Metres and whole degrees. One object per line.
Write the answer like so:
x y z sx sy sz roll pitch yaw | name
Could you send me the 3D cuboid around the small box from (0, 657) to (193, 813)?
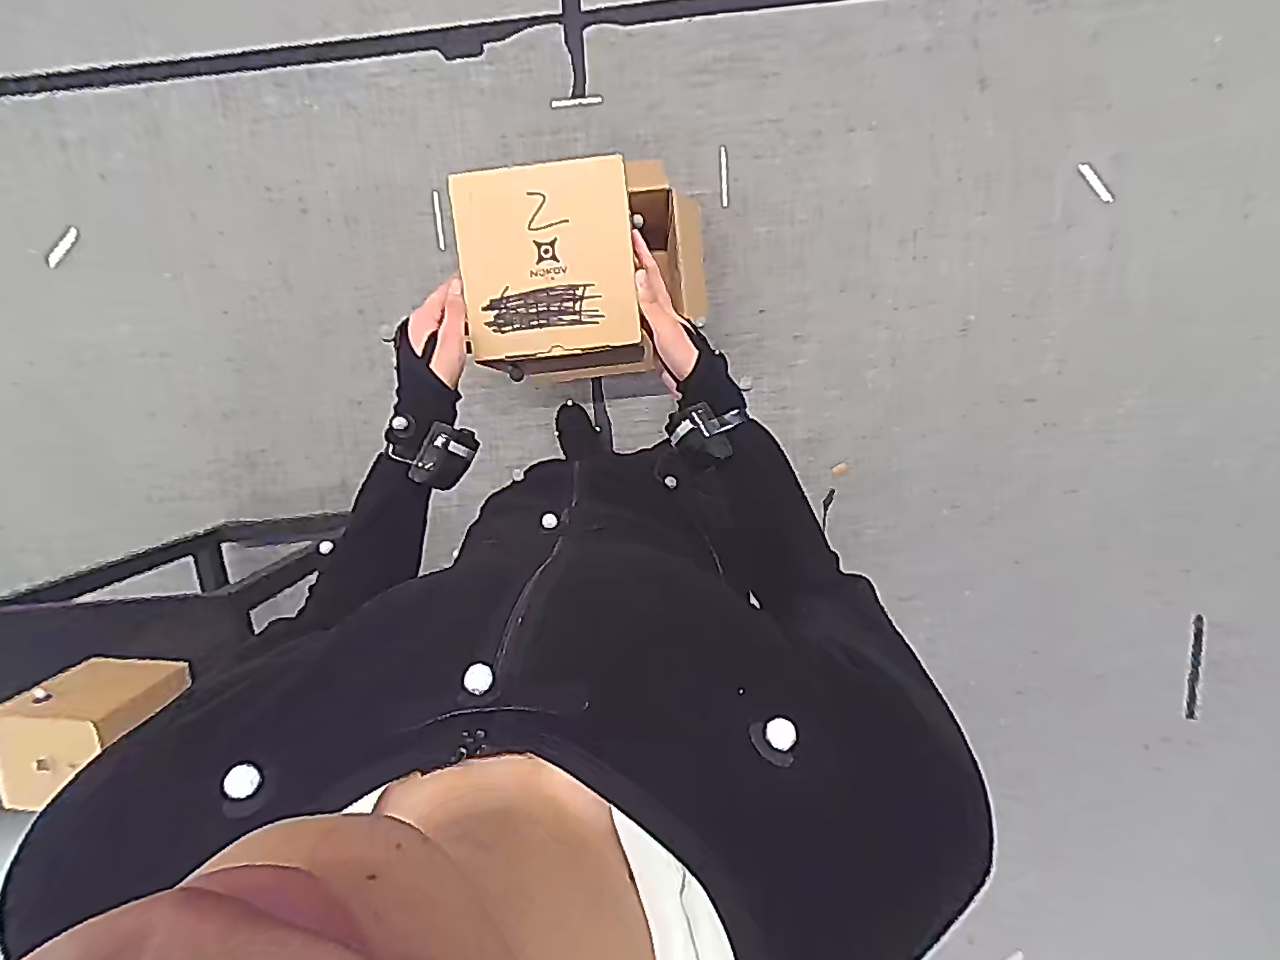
-0.901 0.412 0.897 0.179 0.176 0.168 3 102 0 | small box
